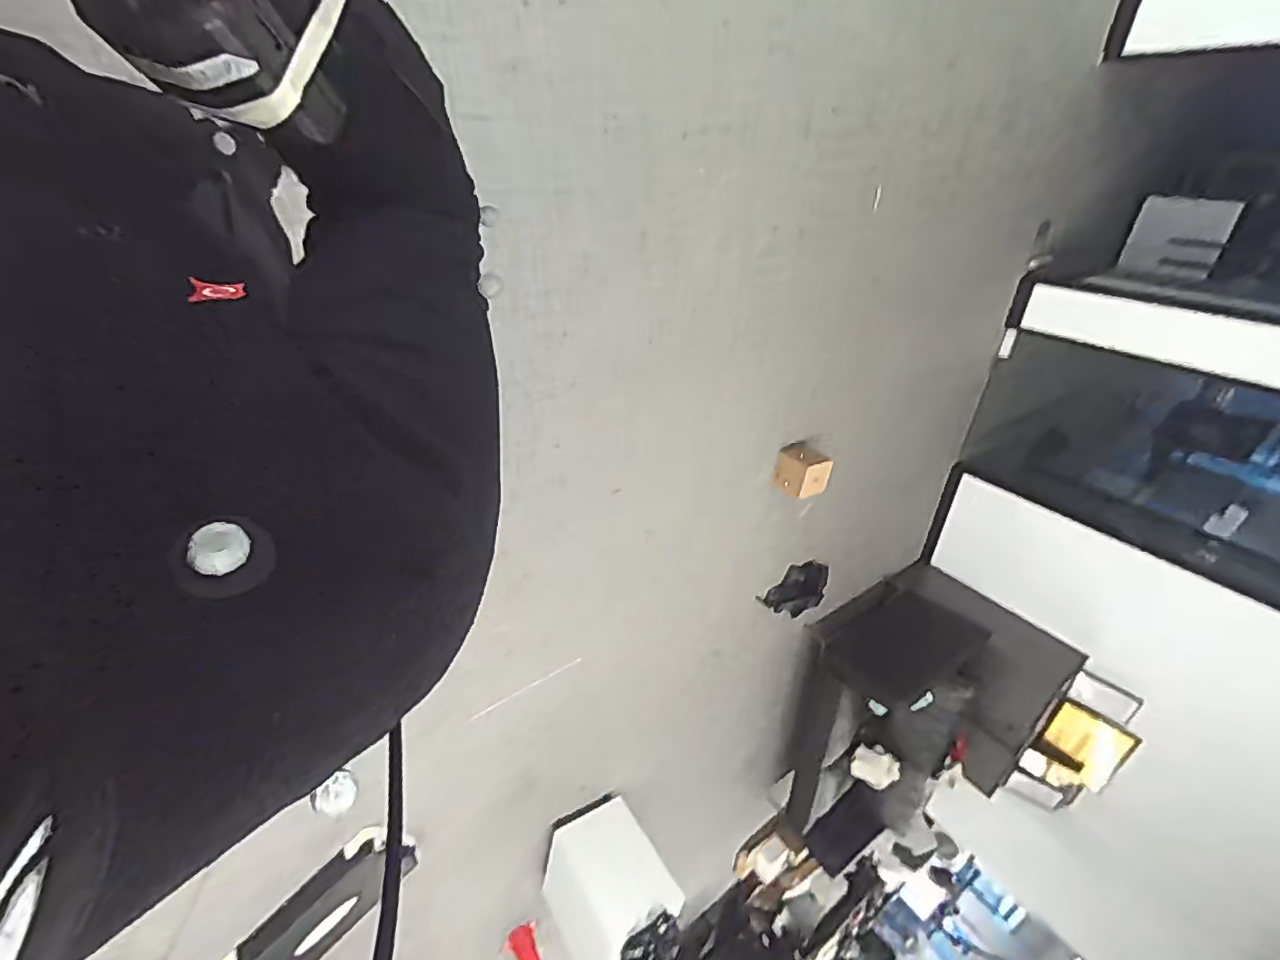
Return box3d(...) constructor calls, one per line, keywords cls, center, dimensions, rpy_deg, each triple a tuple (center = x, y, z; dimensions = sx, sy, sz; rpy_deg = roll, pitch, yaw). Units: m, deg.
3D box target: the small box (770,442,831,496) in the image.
box3d(cls="small box", center=(0.709, -0.052, 2.406), dimensions=(0.179, 0.176, 0.168), rpy_deg=(-15, 127, -33))
